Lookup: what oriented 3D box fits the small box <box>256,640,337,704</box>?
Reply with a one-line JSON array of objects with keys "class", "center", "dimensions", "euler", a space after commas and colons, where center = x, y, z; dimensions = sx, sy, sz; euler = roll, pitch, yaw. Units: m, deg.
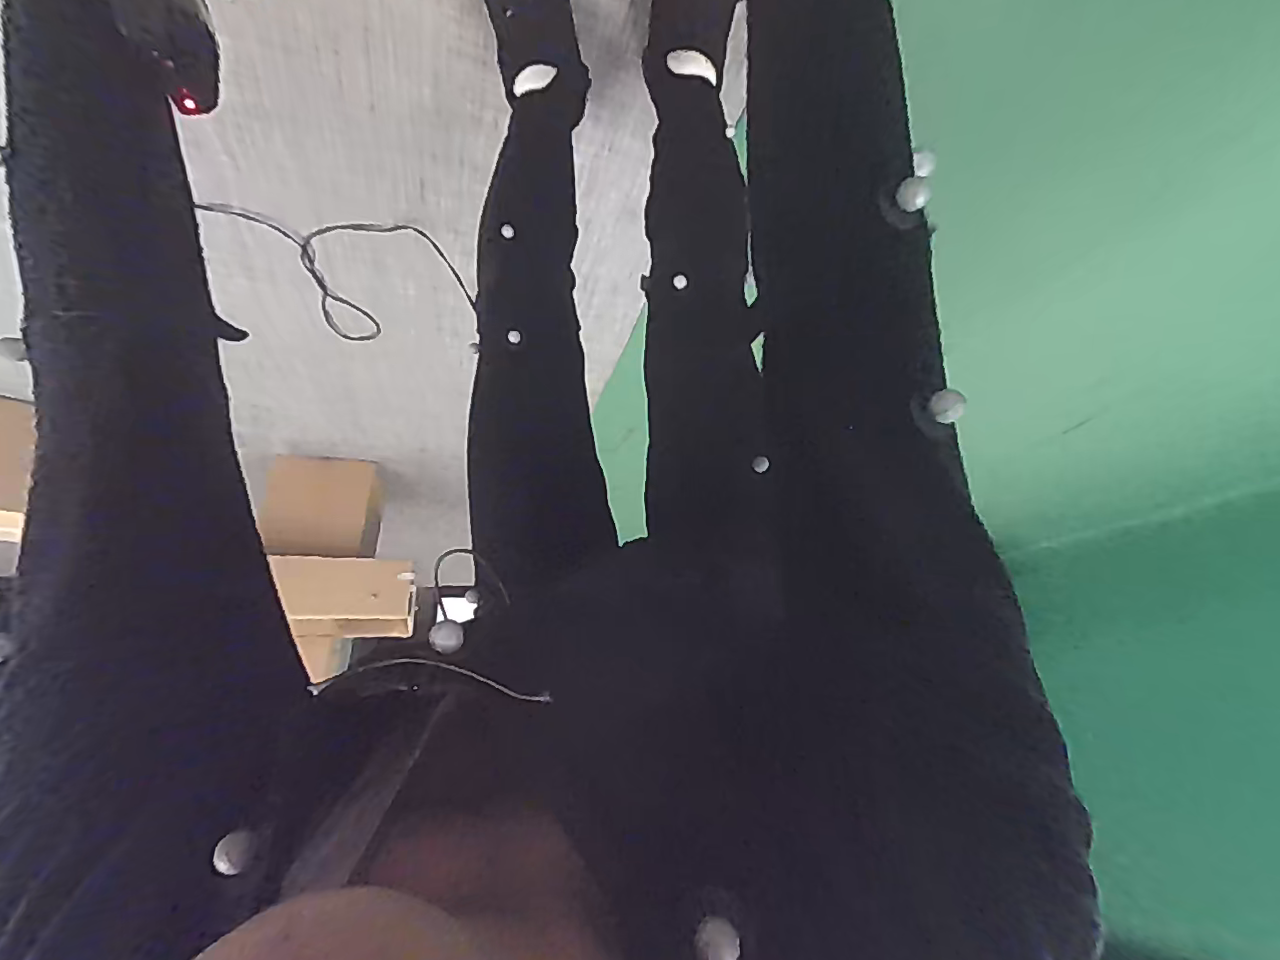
[{"class": "small box", "center": [-1.062, 0.596, 1.687], "dimensions": [0.168, 0.176, 0.179], "euler": [5, 153, -17]}]

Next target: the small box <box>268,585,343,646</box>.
[{"class": "small box", "center": [-1.076, 0.447, 1.755], "dimensions": [0.168, 0.176, 0.179], "euler": [5, 153, -19]}]
